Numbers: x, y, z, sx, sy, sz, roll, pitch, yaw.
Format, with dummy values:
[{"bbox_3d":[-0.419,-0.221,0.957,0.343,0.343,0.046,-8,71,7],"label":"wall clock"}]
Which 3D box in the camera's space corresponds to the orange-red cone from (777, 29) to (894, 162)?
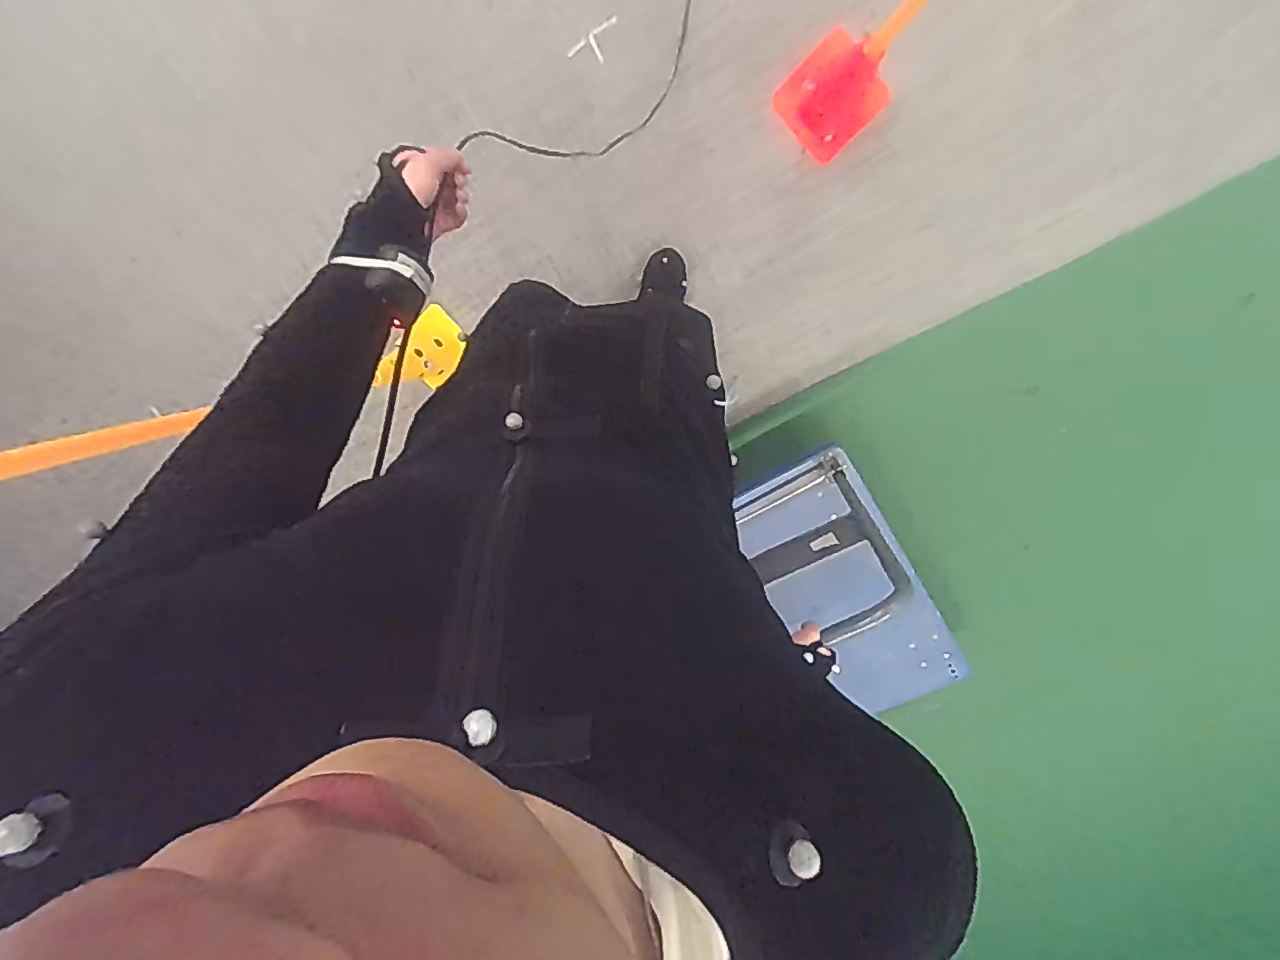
[{"bbox_3d":[0.425,-0.804,1.074,0.199,0.360,0.198,-41,104,19],"label":"orange-red cone"}]
